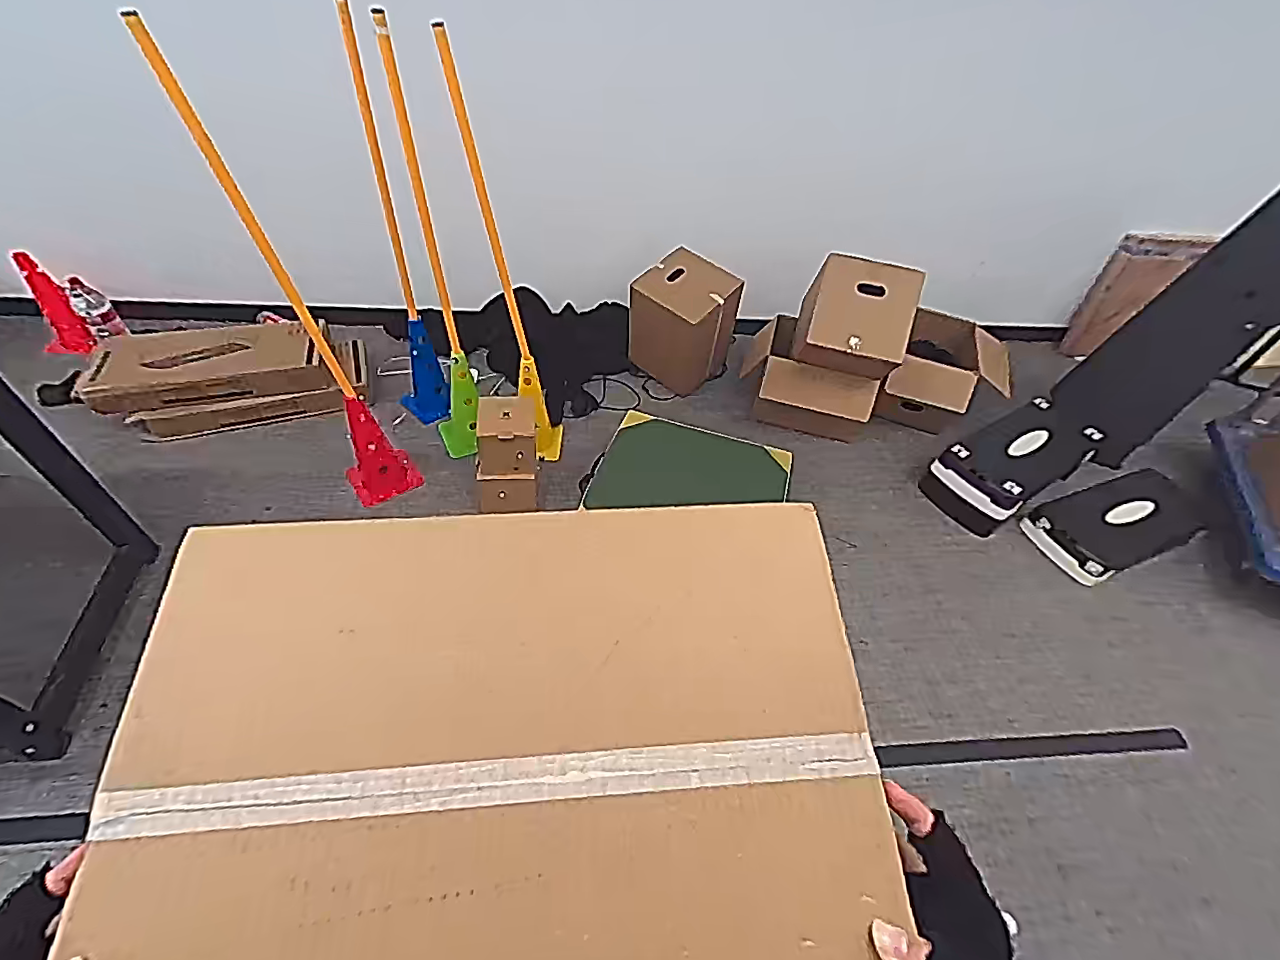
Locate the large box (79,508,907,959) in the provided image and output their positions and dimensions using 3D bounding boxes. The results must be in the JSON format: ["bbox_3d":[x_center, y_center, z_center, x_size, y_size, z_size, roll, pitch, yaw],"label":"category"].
[{"bbox_3d":[-0.079,0.233,0.429,0.408,0.320,0.320,-2,64,-4],"label":"large box"}]
